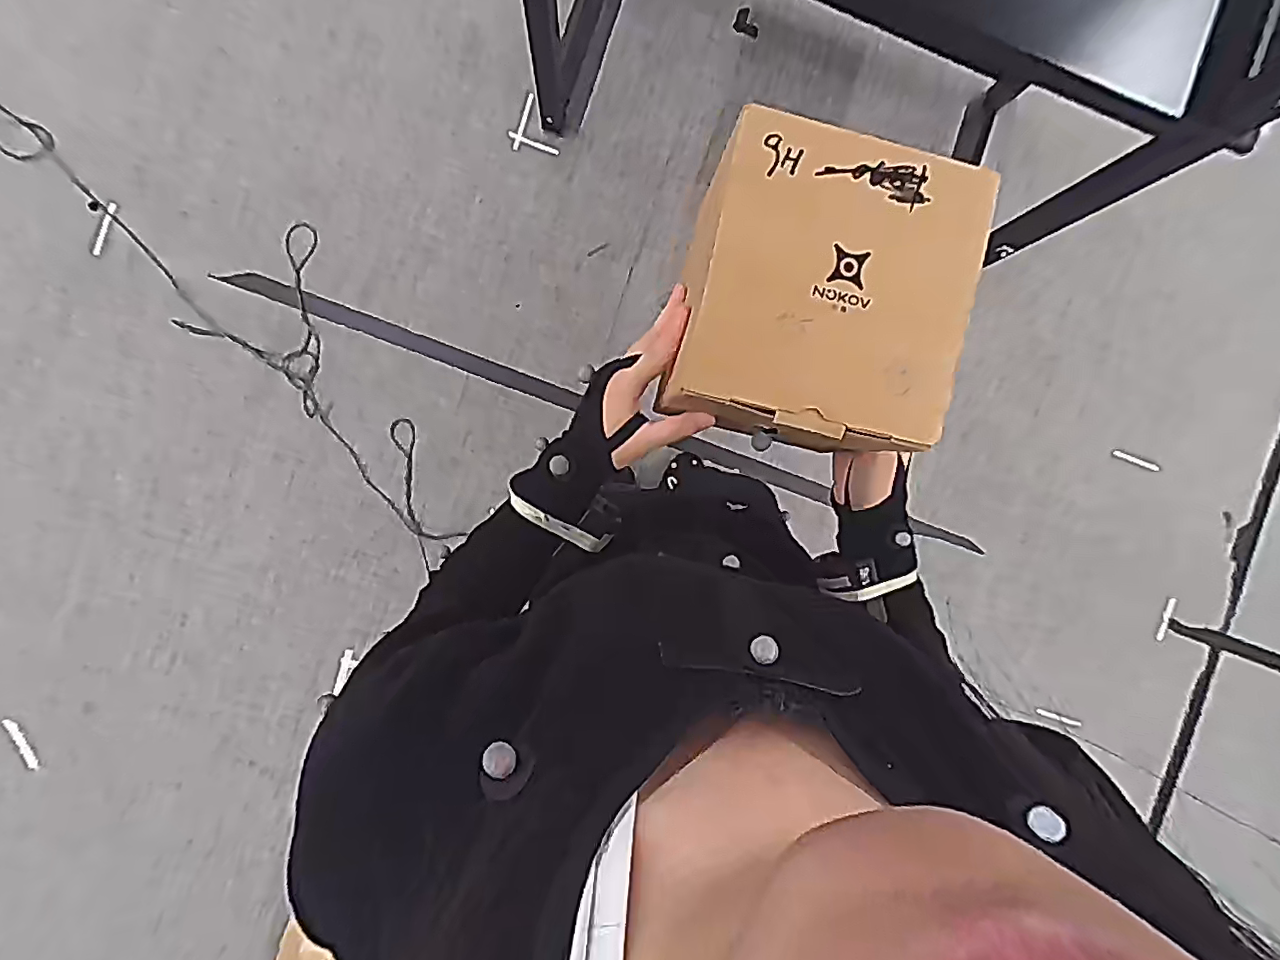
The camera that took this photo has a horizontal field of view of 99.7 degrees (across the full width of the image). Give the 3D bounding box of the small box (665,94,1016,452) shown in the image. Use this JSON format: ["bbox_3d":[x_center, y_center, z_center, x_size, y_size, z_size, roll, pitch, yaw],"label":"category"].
[{"bbox_3d":[0.120,-0.124,0.398,0.168,0.176,0.179,12,93,-6],"label":"small box"}]
